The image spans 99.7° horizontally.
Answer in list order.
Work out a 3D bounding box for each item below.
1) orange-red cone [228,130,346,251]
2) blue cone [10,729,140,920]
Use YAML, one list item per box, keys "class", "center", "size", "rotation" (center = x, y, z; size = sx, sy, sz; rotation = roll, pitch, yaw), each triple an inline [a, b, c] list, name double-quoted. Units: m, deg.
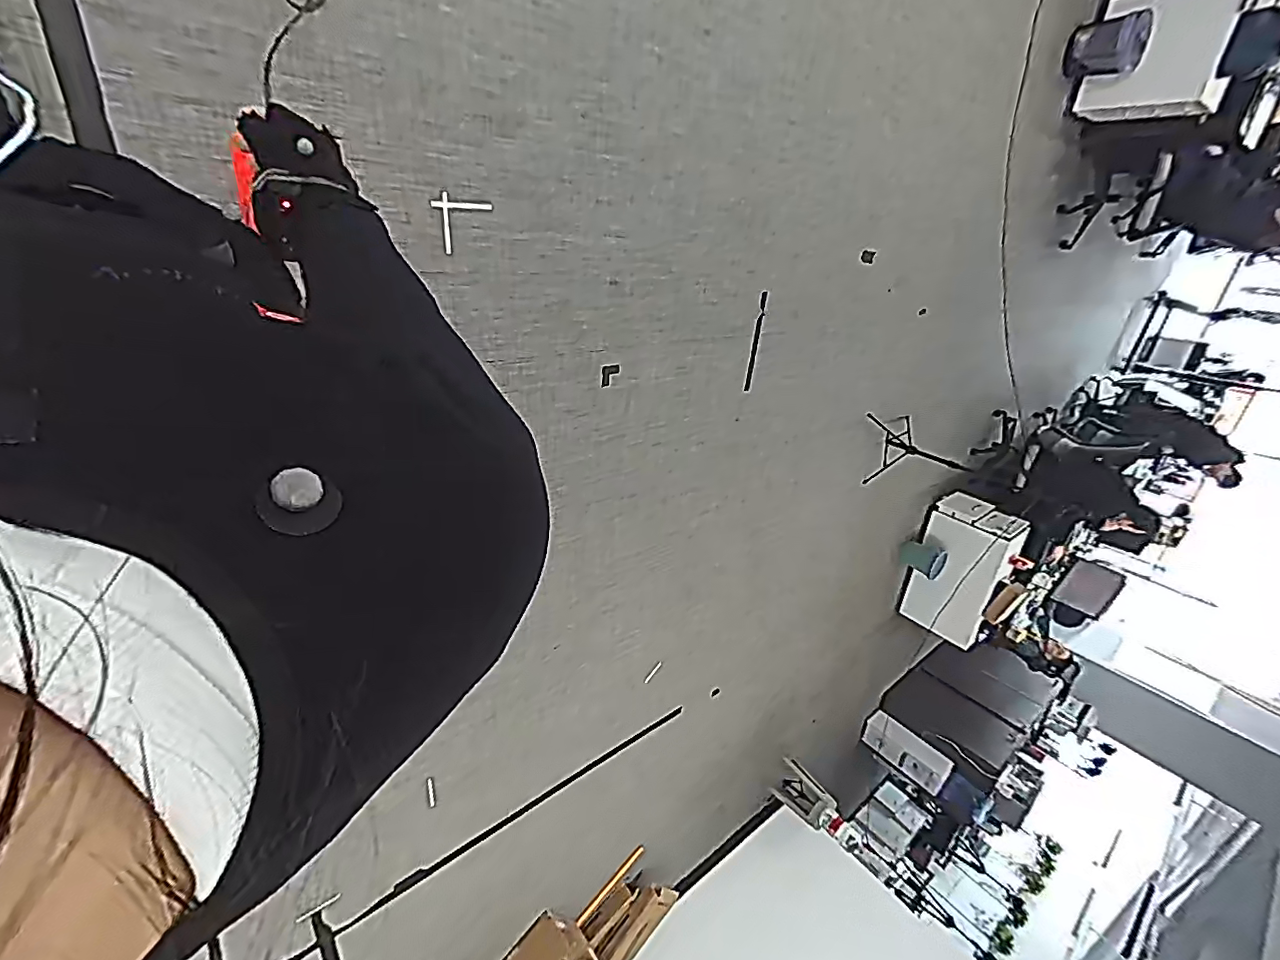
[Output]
- class: "orange-red cone"
  center: [-0.604, -0.512, 0.987]
  size: [0.199, 0.360, 0.198]
  rotation: [-10, 121, -40]
- class: "blue cone"
  center: [-1.208, 0.740, 1.149]
  size: [0.192, 0.380, 0.193]
  rotation: [-10, 118, -38]
